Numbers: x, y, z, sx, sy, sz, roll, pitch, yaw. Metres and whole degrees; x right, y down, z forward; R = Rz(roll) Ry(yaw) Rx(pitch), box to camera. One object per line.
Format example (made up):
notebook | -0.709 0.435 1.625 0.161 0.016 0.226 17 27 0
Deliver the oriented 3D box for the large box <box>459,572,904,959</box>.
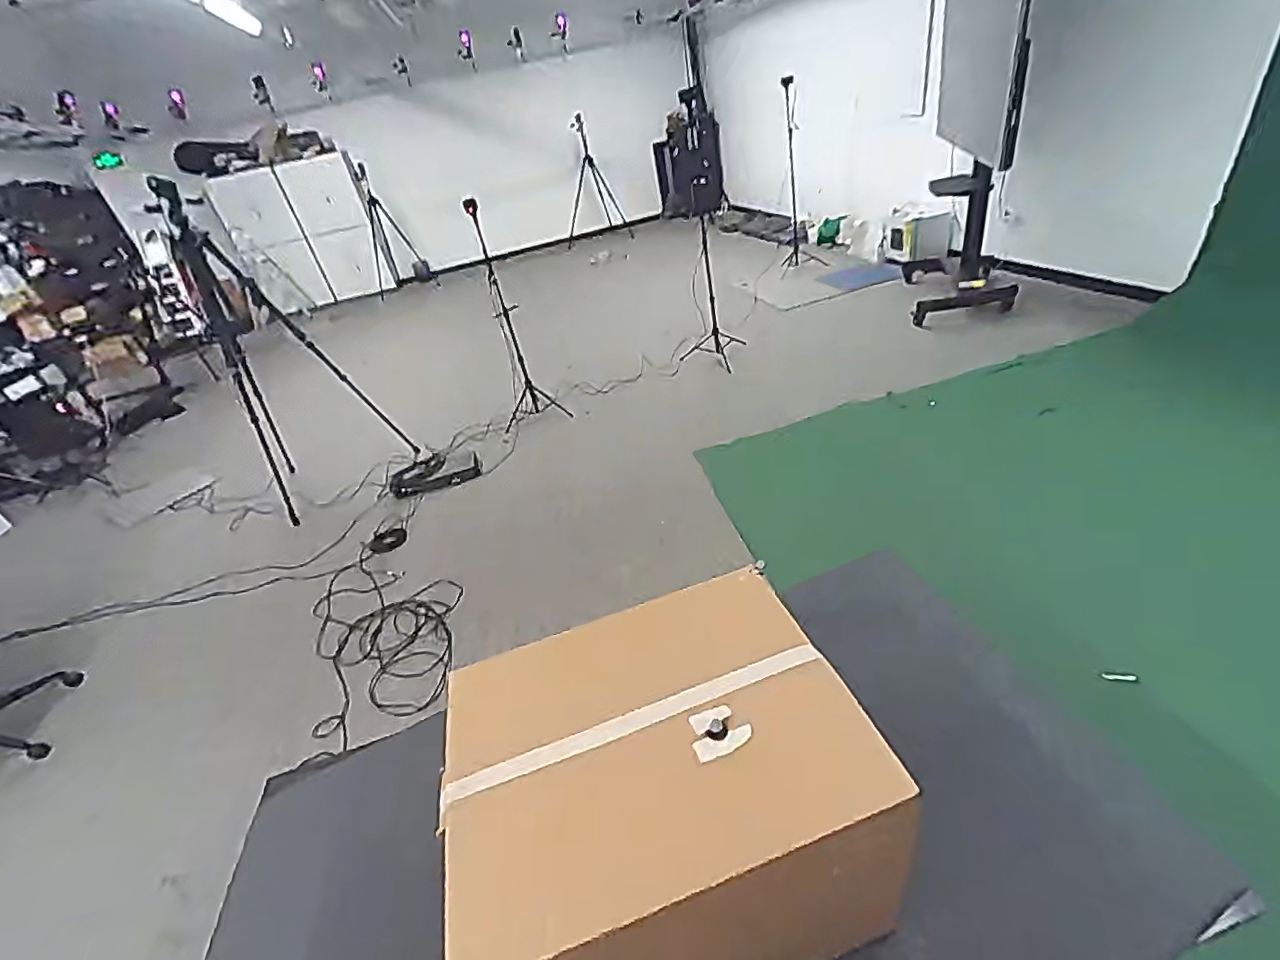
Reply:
large box | 0.033 0.377 0.647 0.408 0.320 0.320 -18 34 -8
